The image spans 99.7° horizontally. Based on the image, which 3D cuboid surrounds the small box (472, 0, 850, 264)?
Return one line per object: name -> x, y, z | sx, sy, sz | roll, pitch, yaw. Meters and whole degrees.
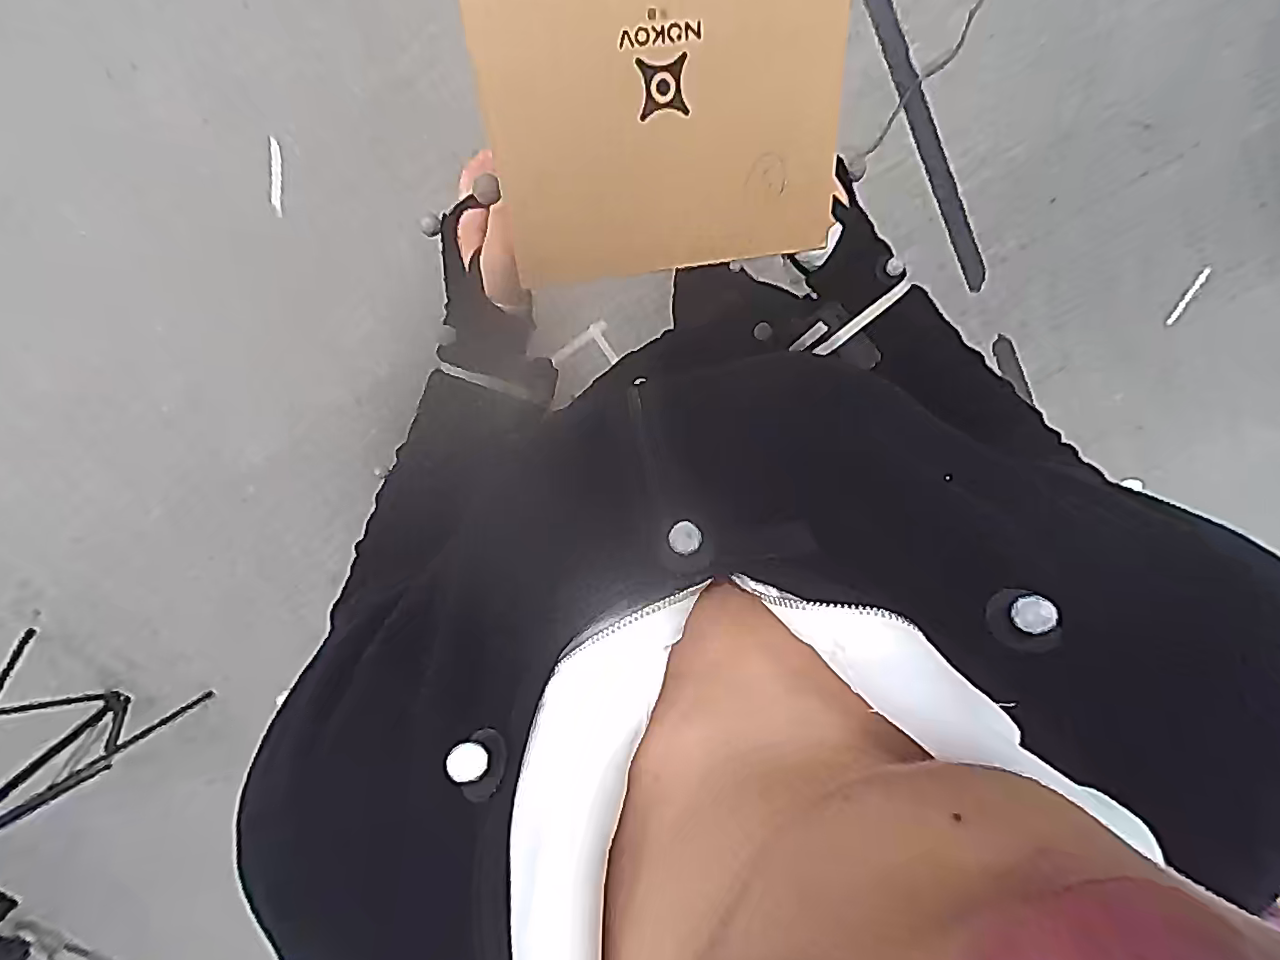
small box -> 0.003, -0.238, 0.305 | 0.168, 0.176, 0.179 | -9, 123, -3
